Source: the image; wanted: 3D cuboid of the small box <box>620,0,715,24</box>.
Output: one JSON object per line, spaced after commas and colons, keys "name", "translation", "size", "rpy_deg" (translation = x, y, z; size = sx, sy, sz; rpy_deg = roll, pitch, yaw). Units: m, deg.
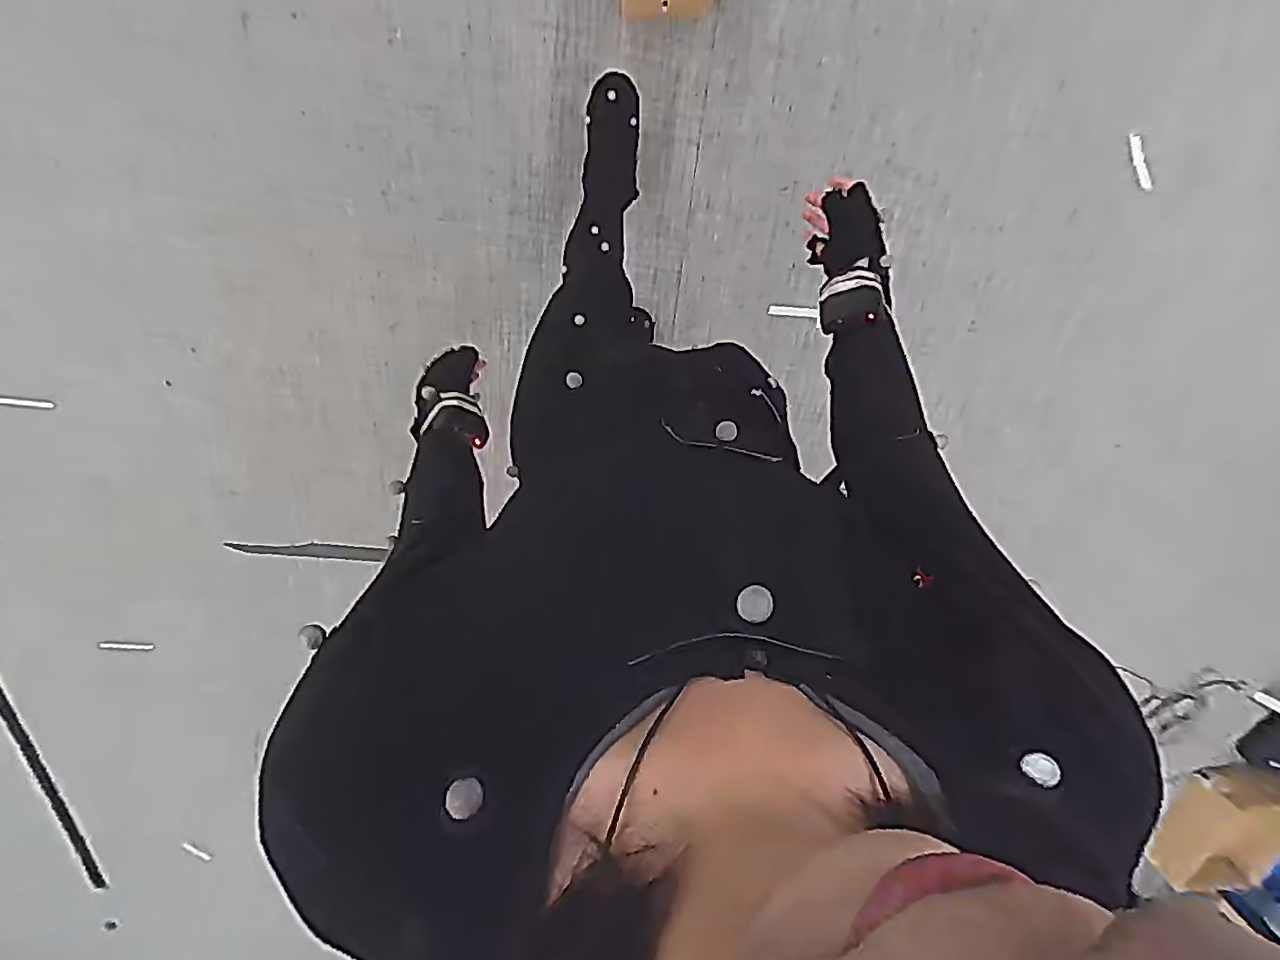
{"name": "small box", "translation": [0.053, -0.992, 1.019], "size": [0.179, 0.176, 0.168], "rpy_deg": [-2, 115, -2]}
